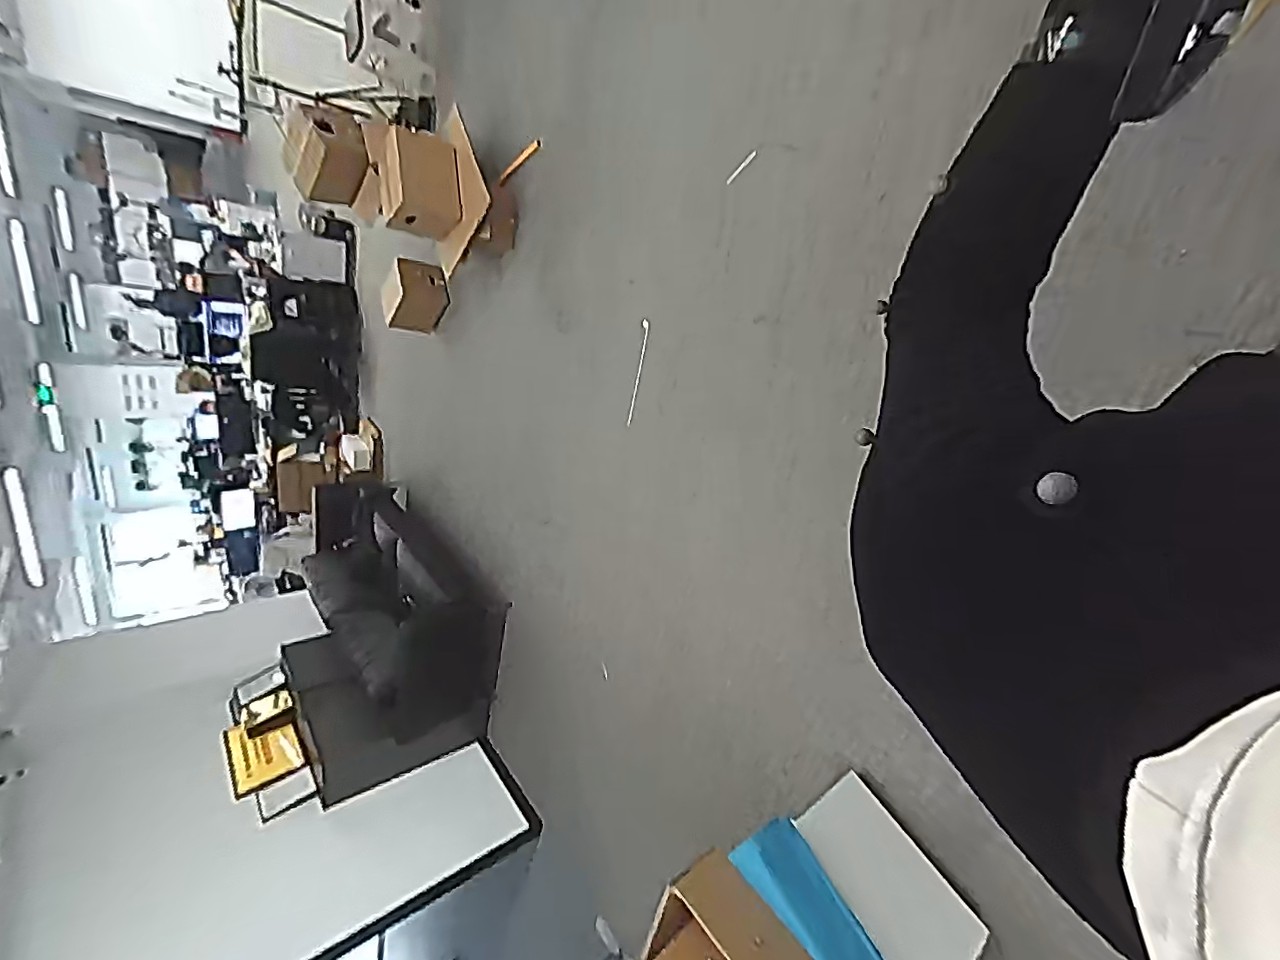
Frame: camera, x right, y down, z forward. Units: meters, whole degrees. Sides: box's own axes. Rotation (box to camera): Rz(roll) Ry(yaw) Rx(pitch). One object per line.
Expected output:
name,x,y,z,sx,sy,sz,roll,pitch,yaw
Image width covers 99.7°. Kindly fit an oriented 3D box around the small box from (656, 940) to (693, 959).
small box,0.073,1.274,1.293,0.179,0.176,0.168,35,121,40
